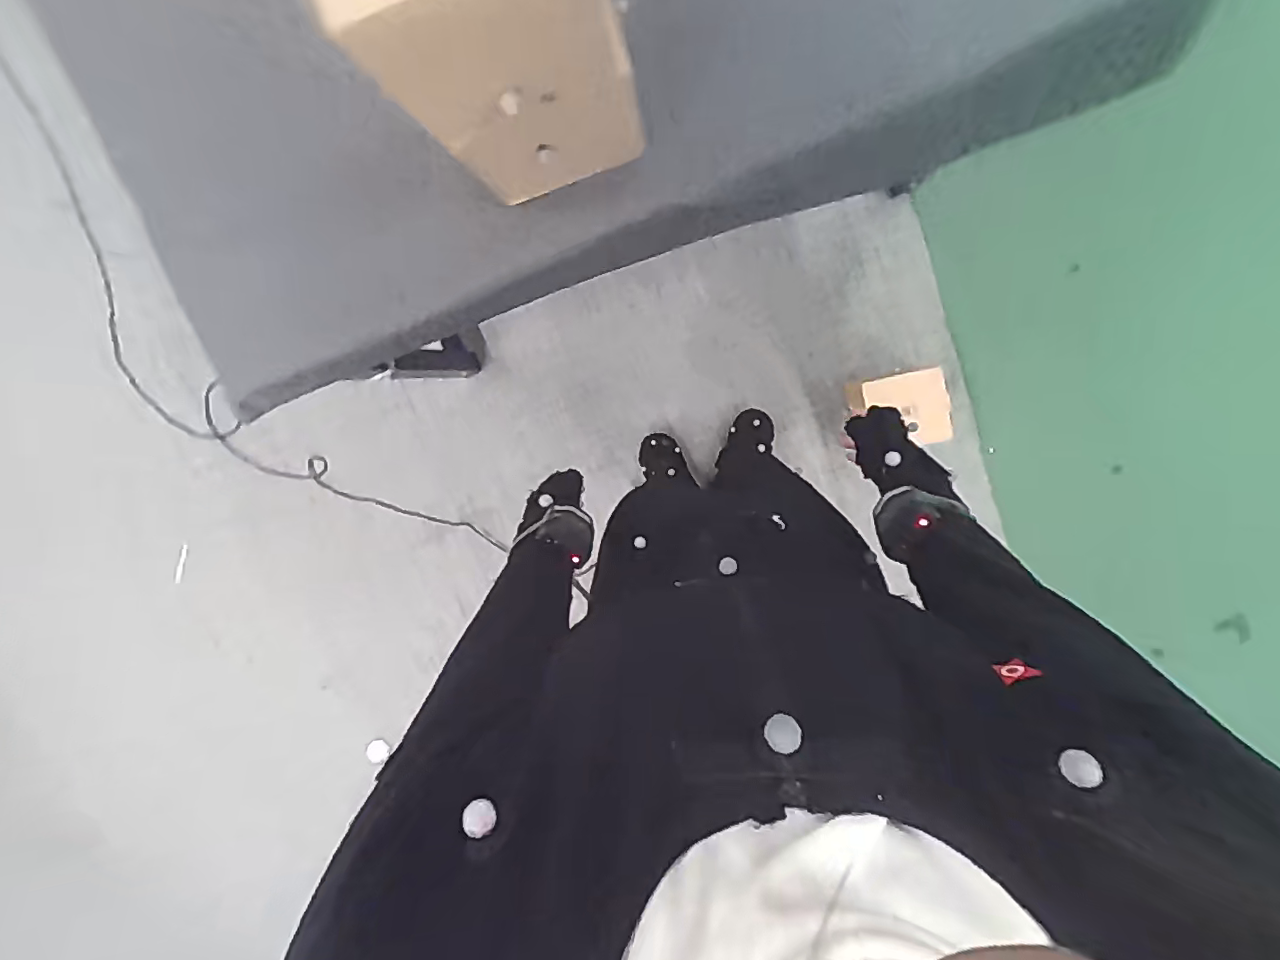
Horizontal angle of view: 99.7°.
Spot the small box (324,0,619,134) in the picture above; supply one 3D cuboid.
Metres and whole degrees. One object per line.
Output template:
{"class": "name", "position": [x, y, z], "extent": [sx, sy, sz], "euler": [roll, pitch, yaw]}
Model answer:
{"class": "small box", "position": [-0.119, -0.389, 0.379], "extent": [0.168, 0.176, 0.179], "euler": [-13, 99, 7]}

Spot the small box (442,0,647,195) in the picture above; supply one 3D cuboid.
{"class": "small box", "position": [-0.102, -0.416, 0.541], "extent": [0.179, 0.176, 0.168], "euler": [-16, 99, 8]}

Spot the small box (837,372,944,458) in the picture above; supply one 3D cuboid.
{"class": "small box", "position": [0.583, -0.157, 1.273], "extent": [0.179, 0.176, 0.168], "euler": [-11, 98, 9]}
